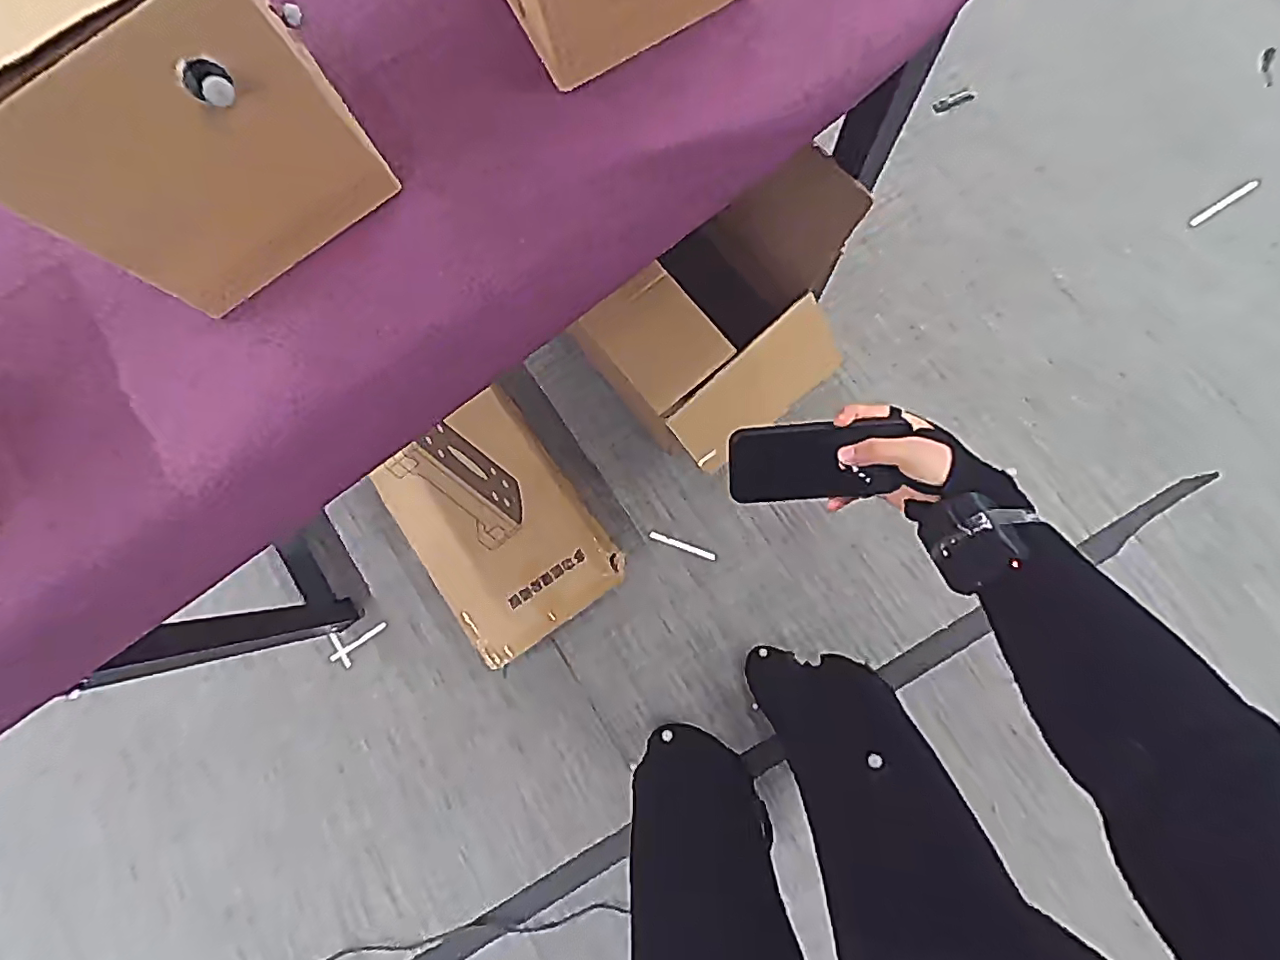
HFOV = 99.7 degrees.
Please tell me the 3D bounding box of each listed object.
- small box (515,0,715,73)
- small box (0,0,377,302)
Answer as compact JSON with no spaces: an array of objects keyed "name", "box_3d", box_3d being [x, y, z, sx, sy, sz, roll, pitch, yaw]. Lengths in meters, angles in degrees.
[{"name":"small box","box_3d":[-0.031,-0.418,0.342,0.179,0.176,0.168,-28,81,1]},{"name":"small box","box_3d":[-0.303,-0.254,0.345,0.179,0.176,0.168,-35,78,0]}]
